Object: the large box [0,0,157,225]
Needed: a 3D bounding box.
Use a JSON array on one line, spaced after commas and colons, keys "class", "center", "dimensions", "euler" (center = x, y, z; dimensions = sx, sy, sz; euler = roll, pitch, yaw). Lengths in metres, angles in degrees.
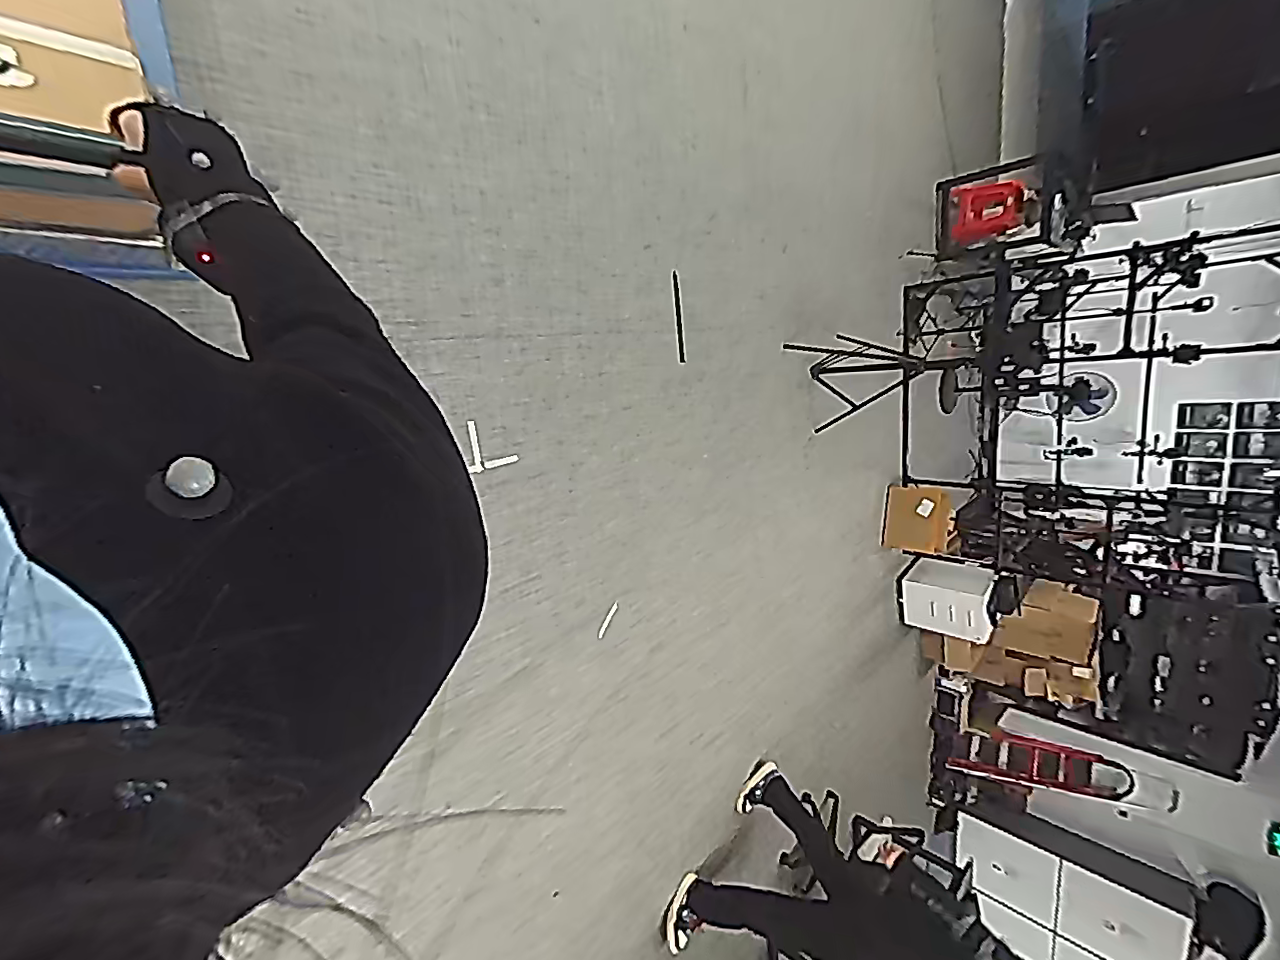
[{"class": "large box", "center": [-0.953, -0.561, 0.716], "dimensions": [0.408, 0.320, 0.320], "euler": [-15, 106, -45]}]
